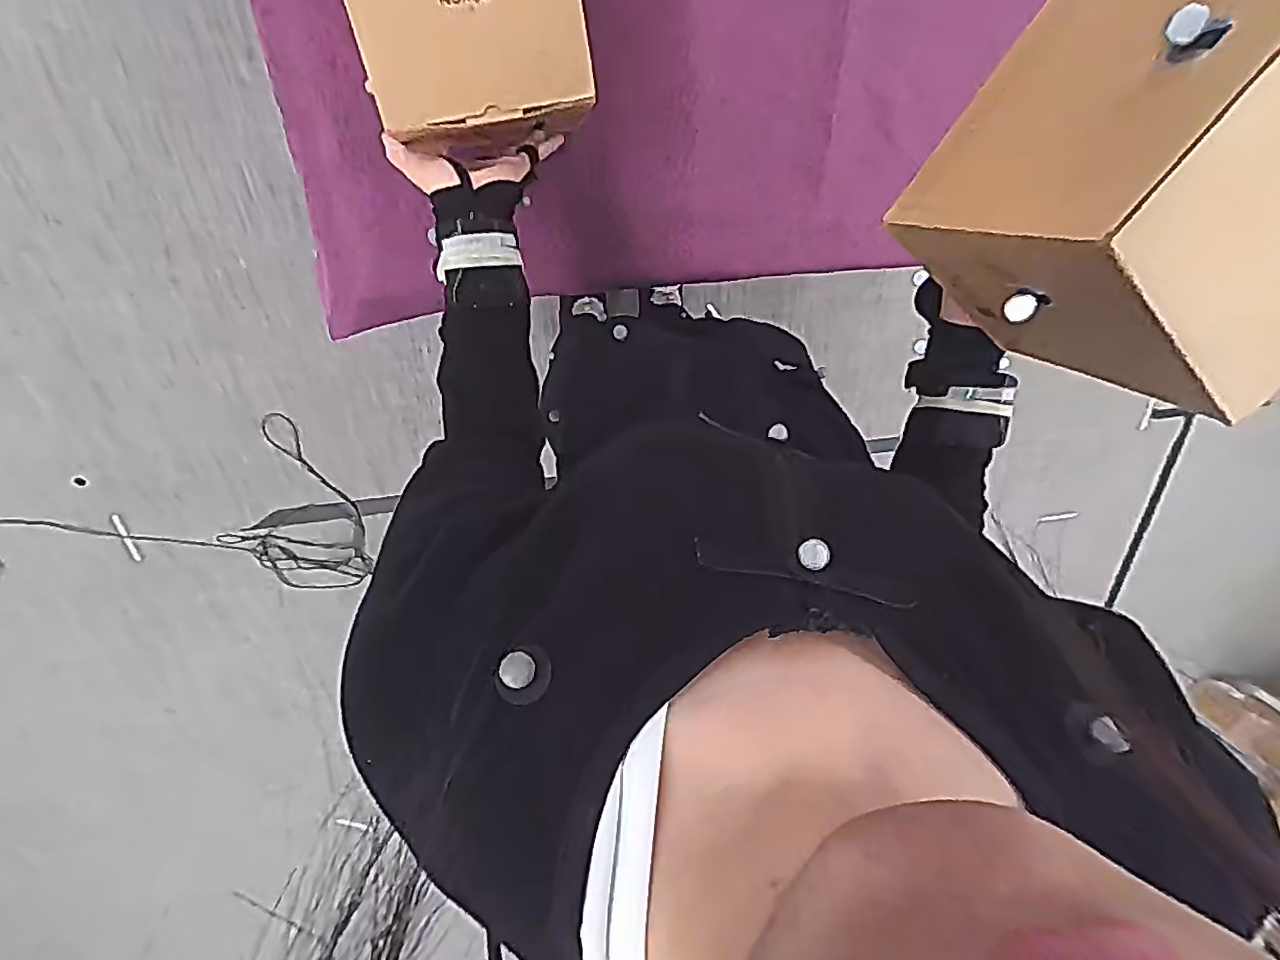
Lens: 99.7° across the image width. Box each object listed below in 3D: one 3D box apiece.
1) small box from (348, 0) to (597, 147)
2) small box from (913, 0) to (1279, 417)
[{"bbox_3d":[-0.140,-0.391,0.447,0.168,0.176,0.179,-15,117,-7],"label":"small box"},{"bbox_3d":[0.296,-0.171,0.313,0.168,0.176,0.179,29,107,-25],"label":"small box"}]
